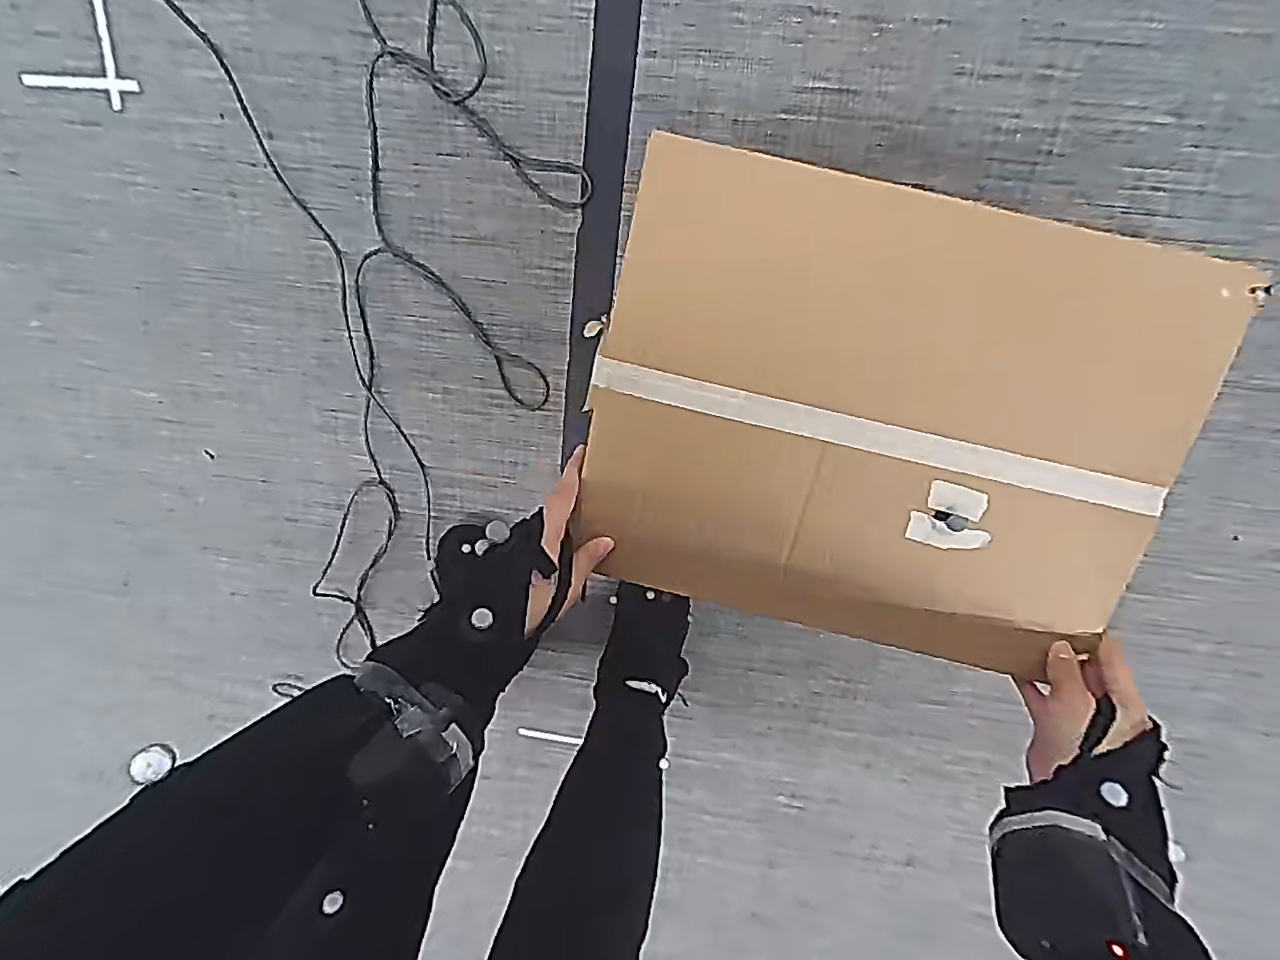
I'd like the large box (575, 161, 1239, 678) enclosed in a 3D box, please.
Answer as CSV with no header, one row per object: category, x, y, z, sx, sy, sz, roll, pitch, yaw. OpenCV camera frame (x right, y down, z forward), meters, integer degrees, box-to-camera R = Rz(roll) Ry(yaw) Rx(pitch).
large box,0.178,-0.063,0.536,0.408,0.320,0.320,13,105,1
